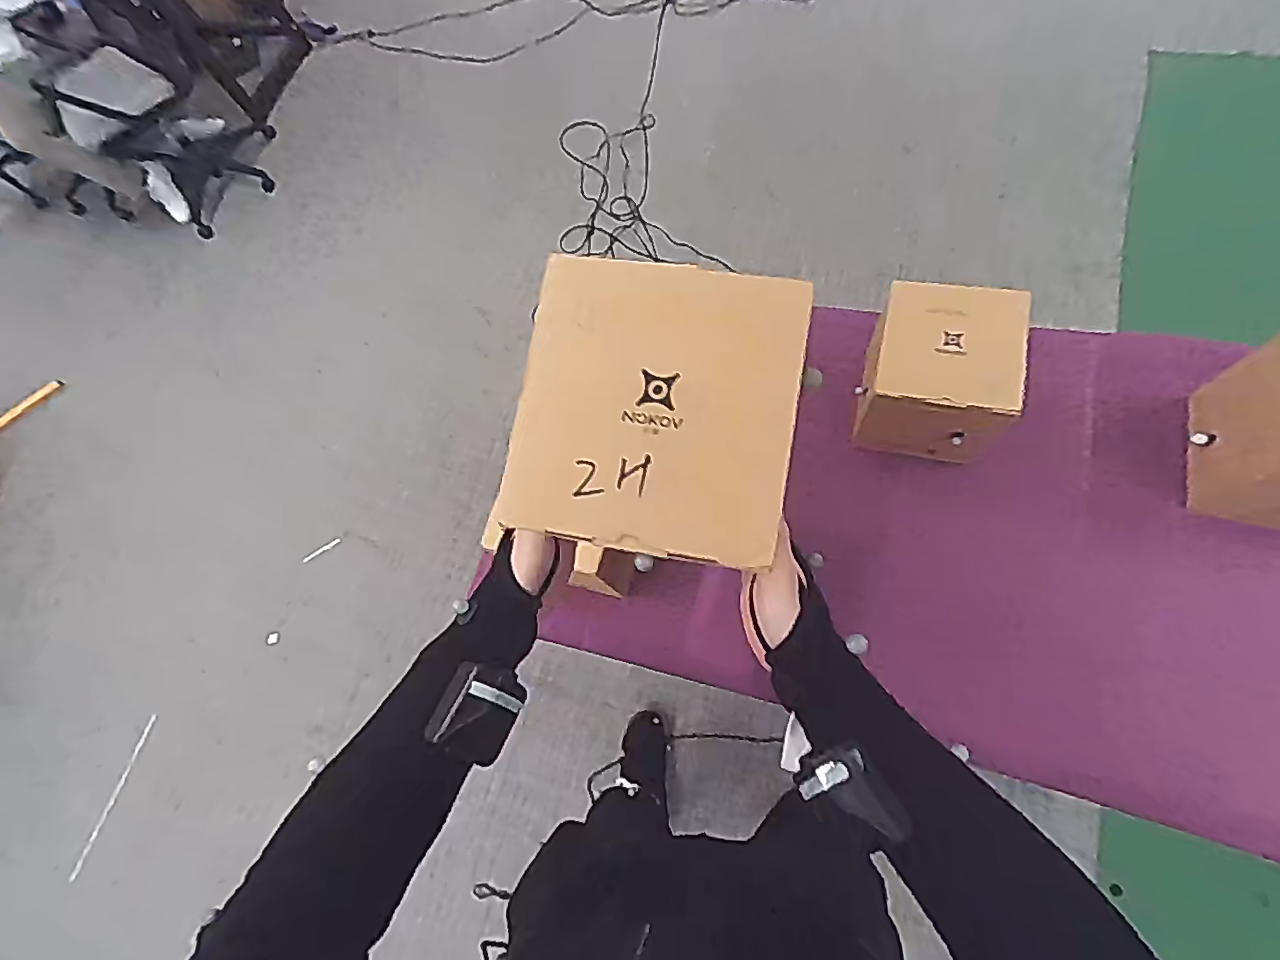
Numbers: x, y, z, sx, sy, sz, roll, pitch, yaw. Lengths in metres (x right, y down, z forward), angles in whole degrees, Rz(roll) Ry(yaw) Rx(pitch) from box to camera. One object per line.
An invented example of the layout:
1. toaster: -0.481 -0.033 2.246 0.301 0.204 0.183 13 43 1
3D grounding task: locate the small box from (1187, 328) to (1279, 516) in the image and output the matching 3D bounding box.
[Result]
1. small box: 0.789 -0.057 0.624 0.168 0.176 0.179 12 74 17

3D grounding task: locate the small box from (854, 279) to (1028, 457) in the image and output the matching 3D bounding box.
1. small box: 0.402 -0.147 0.747 0.168 0.176 0.179 11 73 16

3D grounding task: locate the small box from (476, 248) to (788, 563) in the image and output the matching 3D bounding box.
1. small box: 0.003 -0.041 0.401 0.168 0.176 0.179 9 85 8
